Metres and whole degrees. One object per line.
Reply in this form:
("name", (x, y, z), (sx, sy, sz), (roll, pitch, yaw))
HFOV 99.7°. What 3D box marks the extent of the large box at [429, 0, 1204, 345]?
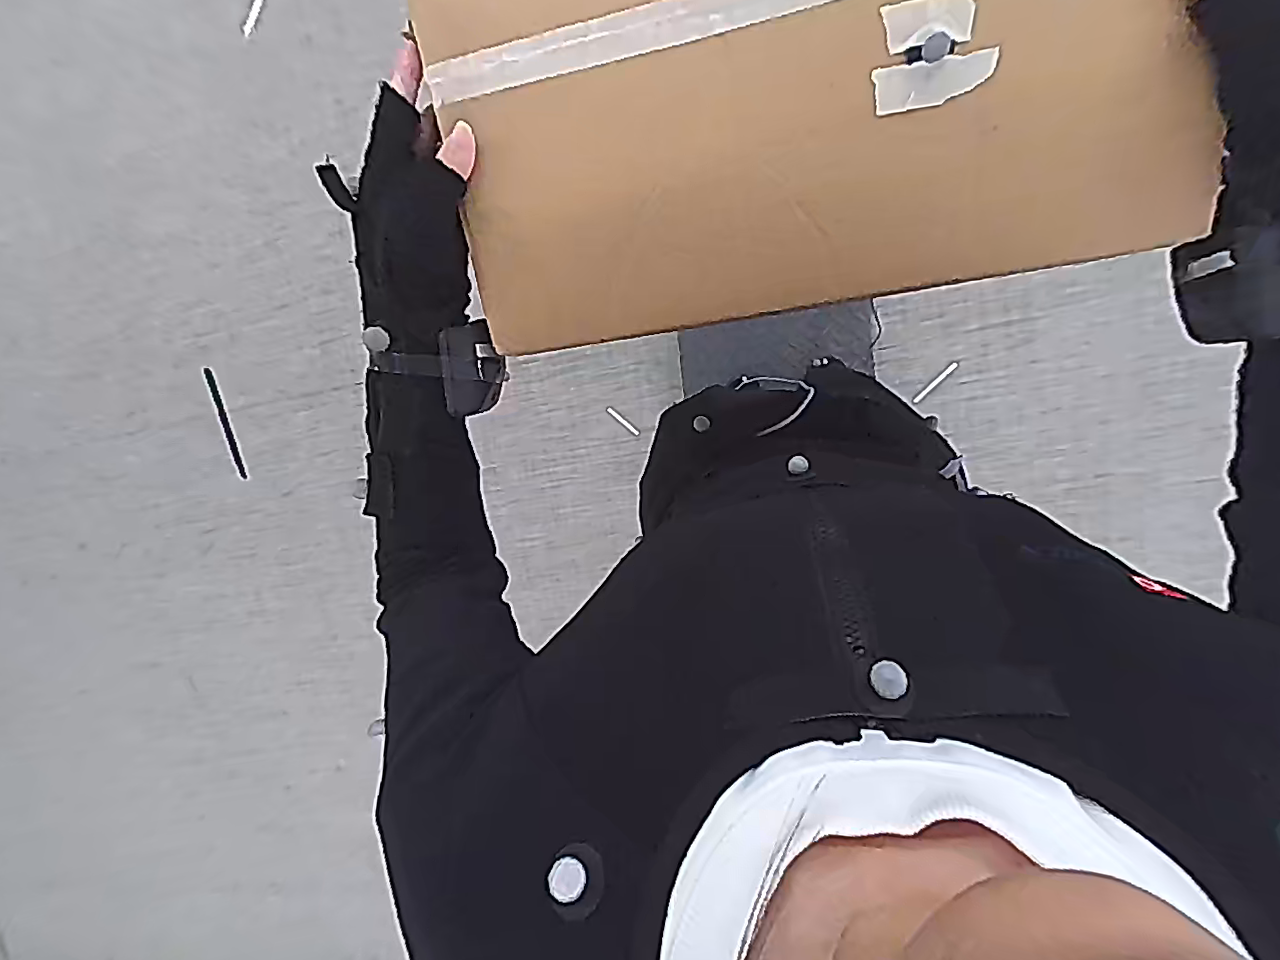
("large box", (0.096, -0.307, 0.431), (0.408, 0.320, 0.320), (-7, 107, 10))
